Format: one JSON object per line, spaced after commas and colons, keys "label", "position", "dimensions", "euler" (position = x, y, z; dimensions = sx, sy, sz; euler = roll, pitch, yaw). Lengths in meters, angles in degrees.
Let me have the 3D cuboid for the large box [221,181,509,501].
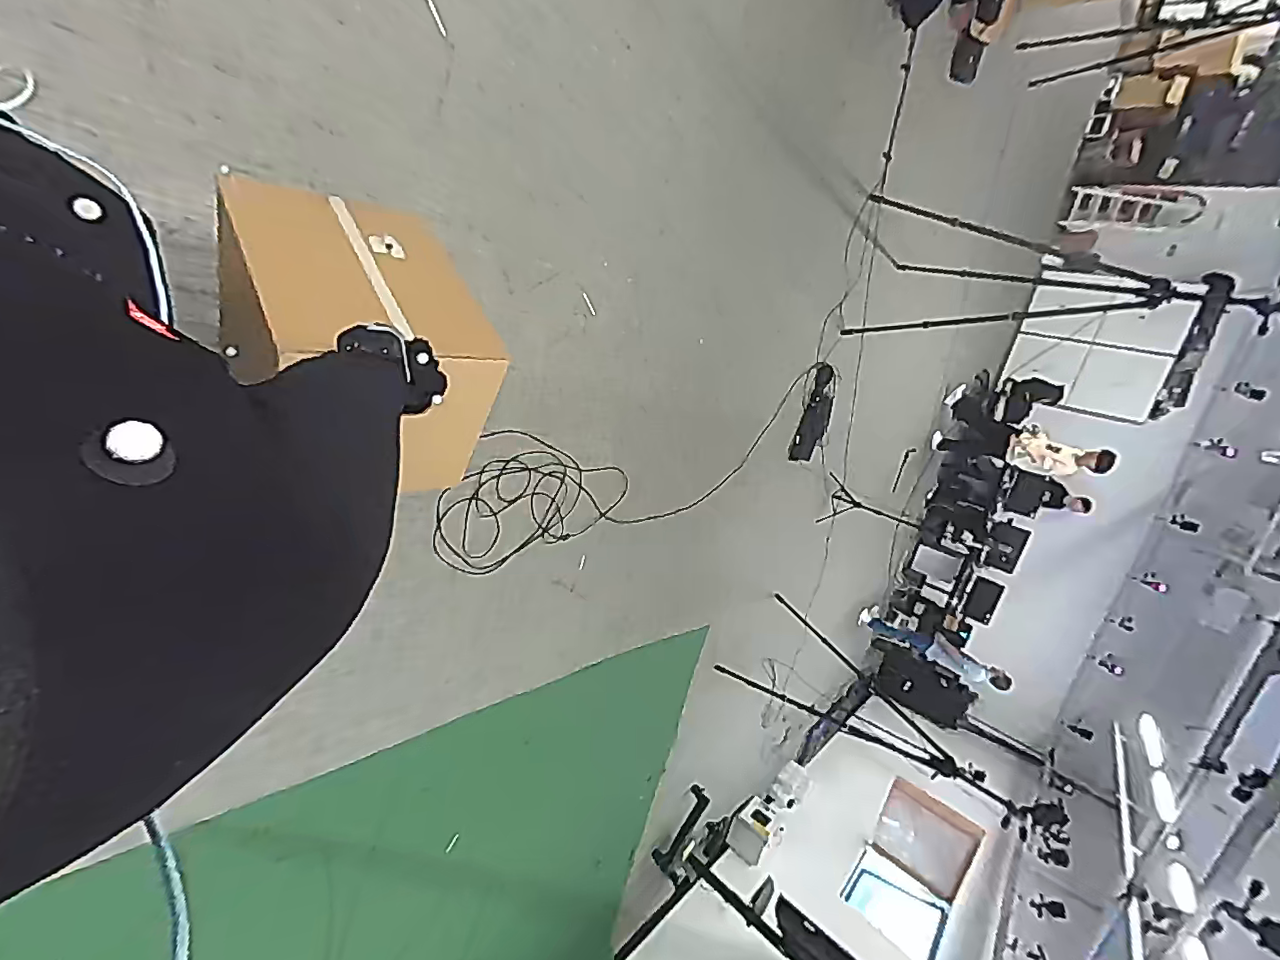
{"label": "large box", "position": [-0.483, -0.227, 0.927], "dimensions": [0.320, 0.408, 0.320], "euler": [-9, 146, -43]}
